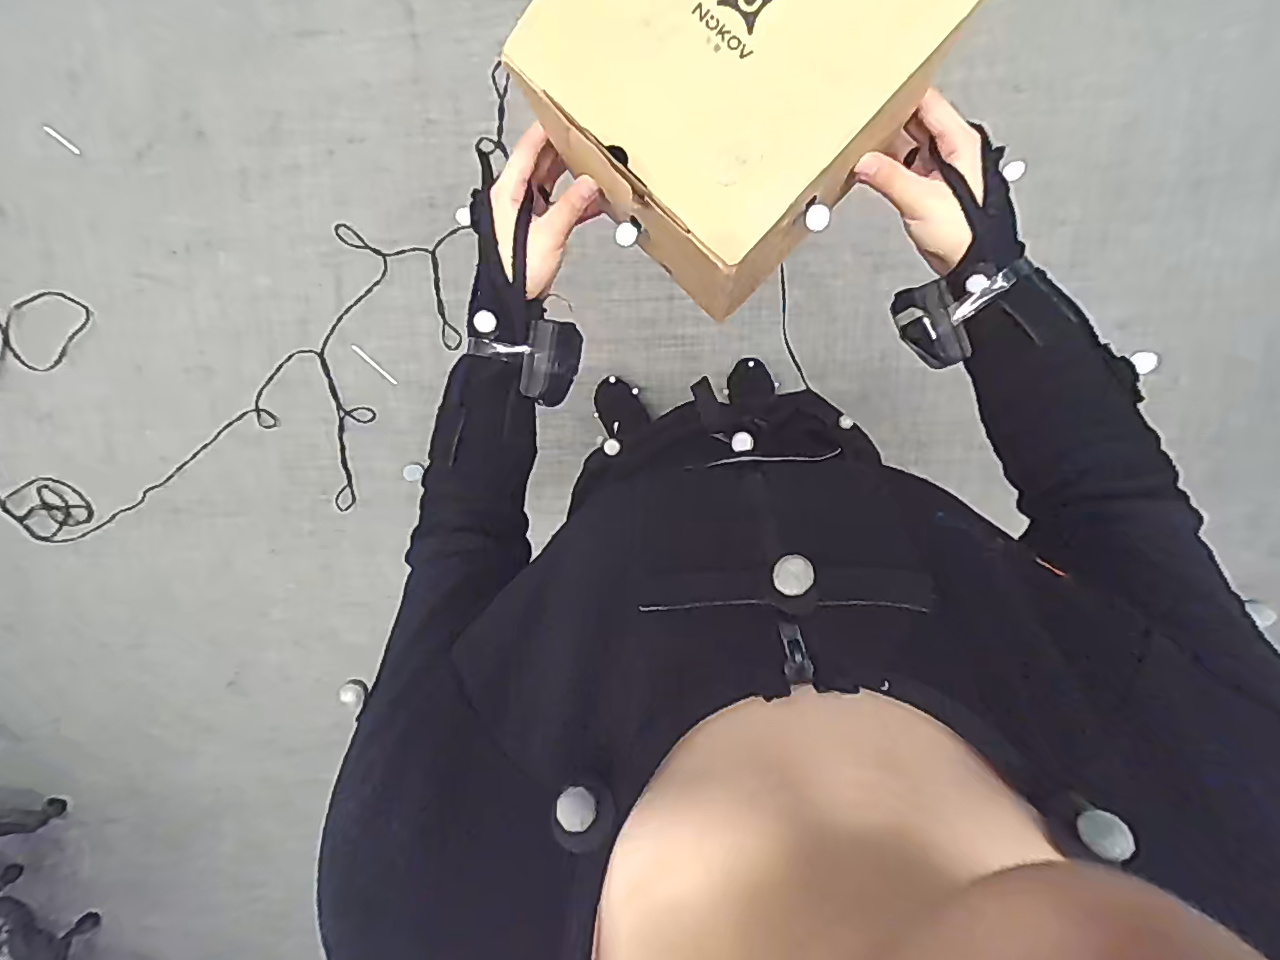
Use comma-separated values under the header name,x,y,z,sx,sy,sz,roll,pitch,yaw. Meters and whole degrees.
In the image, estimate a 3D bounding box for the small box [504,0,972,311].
name,x,y,z,sx,sy,sz,roll,pitch,yaw
small box,0.054,-0.234,0.343,0.168,0.176,0.179,44,102,0
